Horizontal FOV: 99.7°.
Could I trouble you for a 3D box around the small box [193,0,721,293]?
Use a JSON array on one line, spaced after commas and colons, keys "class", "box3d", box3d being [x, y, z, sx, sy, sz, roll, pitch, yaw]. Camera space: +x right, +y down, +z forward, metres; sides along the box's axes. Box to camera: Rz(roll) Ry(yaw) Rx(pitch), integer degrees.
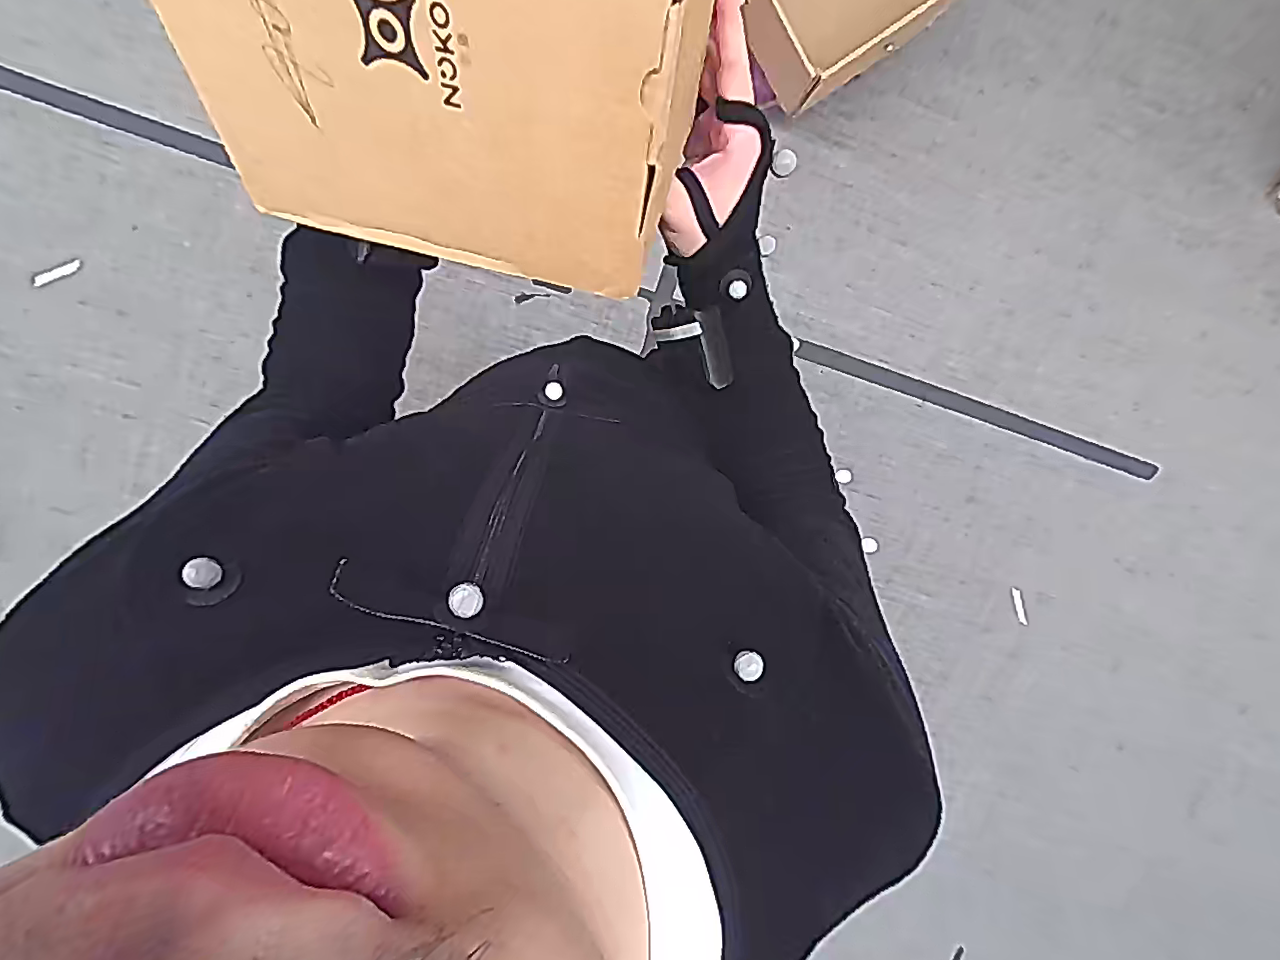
[{"class": "small box", "box3d": [-0.054, -0.214, 0.227, 0.179, 0.168, 0.176, 14, 56, 1]}]
